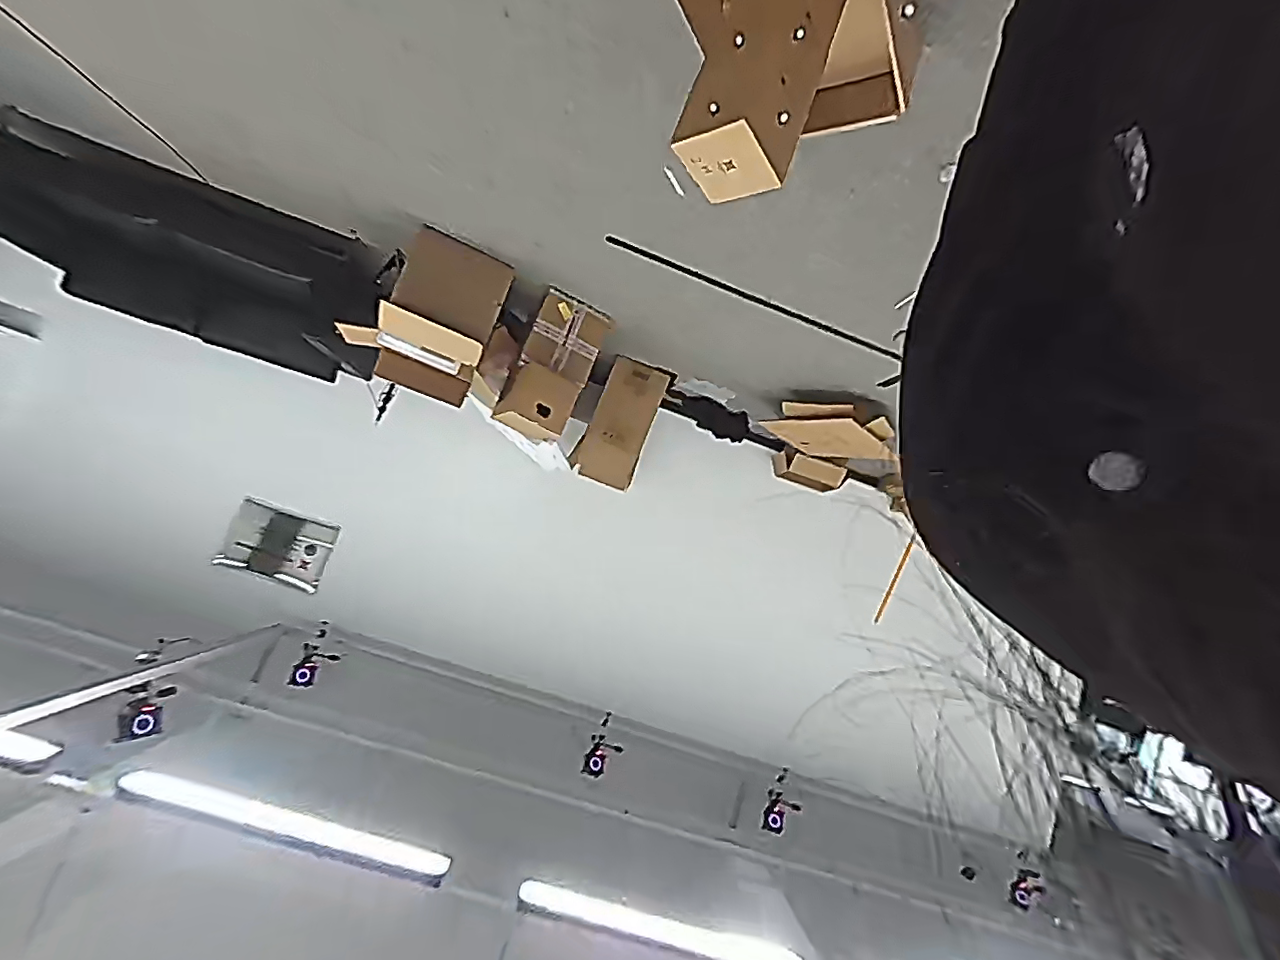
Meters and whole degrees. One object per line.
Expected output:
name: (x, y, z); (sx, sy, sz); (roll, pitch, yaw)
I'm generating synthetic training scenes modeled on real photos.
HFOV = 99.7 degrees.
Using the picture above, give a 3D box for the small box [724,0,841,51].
small box: (0.303, -1.003, 1.111); (0.179, 0.176, 0.168); (12, 170, 37)

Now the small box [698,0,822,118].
small box: (0.252, -0.850, 1.096); (0.179, 0.176, 0.168); (14, 169, 42)

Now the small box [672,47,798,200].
small box: (0.195, -0.697, 1.067); (0.179, 0.176, 0.168); (12, 167, 42)
